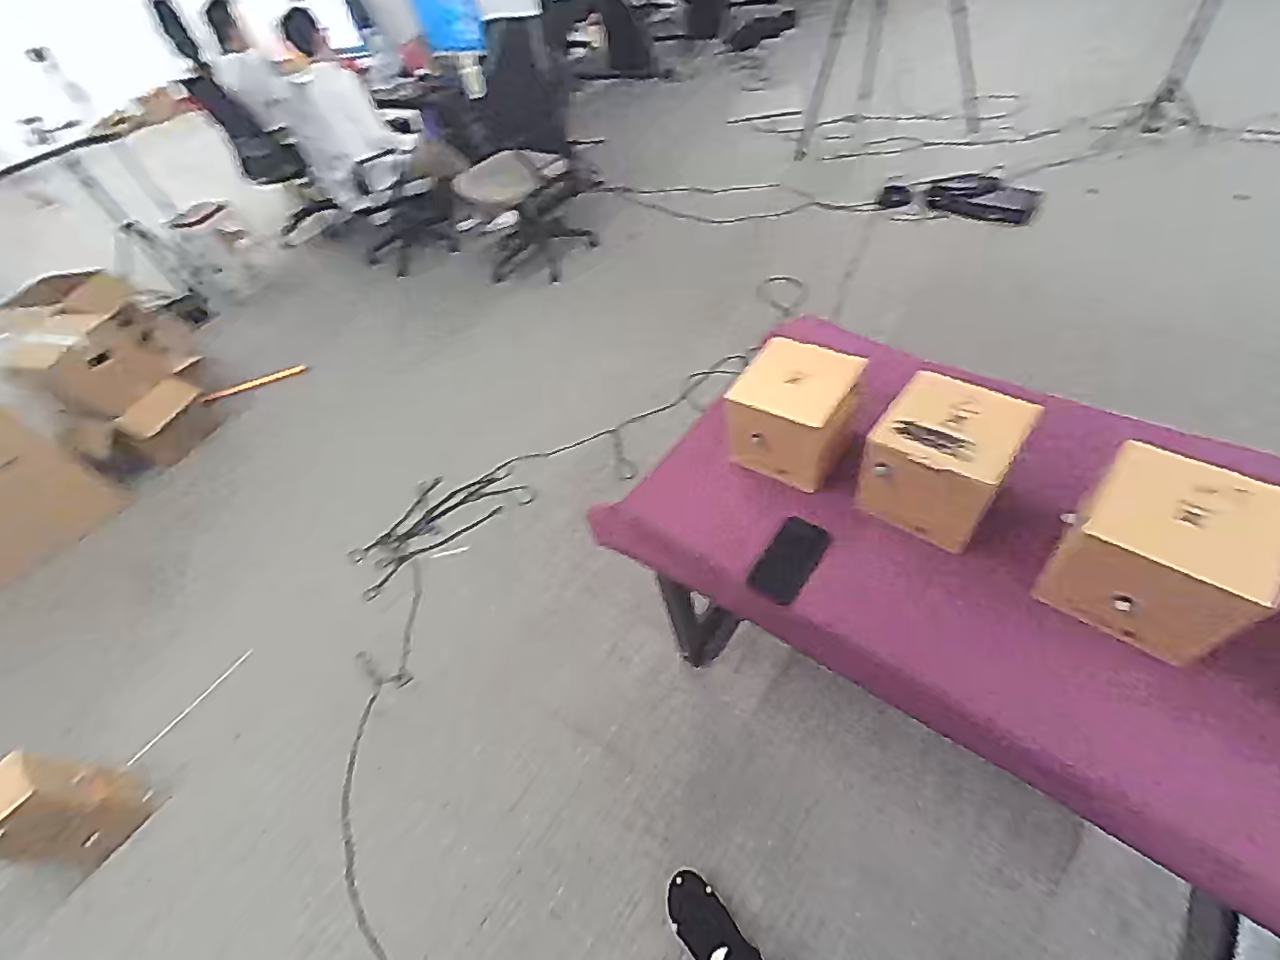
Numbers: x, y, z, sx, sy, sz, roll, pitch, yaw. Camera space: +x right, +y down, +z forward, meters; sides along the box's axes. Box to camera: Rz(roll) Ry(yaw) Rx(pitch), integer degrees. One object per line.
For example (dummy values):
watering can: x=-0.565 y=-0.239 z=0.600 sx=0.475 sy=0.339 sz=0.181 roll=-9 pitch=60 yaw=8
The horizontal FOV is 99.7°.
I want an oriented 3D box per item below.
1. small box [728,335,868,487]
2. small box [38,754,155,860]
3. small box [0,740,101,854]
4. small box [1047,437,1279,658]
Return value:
small box: x=0.272 y=-0.117 z=0.933 sx=0.168 sy=0.176 sz=0.179 roll=25 pitch=60 yaw=30
small box: x=-1.481 y=0.891 z=1.473 sx=0.168 sy=0.176 sz=0.179 roll=25 pitch=61 yaw=31
small box: x=-1.515 y=0.793 z=1.346 sx=0.179 sy=0.176 sz=0.168 roll=27 pitch=62 yaw=32
small box: x=0.646 y=0.086 z=0.669 sx=0.168 sy=0.176 sz=0.179 roll=32 pitch=64 yaw=32
